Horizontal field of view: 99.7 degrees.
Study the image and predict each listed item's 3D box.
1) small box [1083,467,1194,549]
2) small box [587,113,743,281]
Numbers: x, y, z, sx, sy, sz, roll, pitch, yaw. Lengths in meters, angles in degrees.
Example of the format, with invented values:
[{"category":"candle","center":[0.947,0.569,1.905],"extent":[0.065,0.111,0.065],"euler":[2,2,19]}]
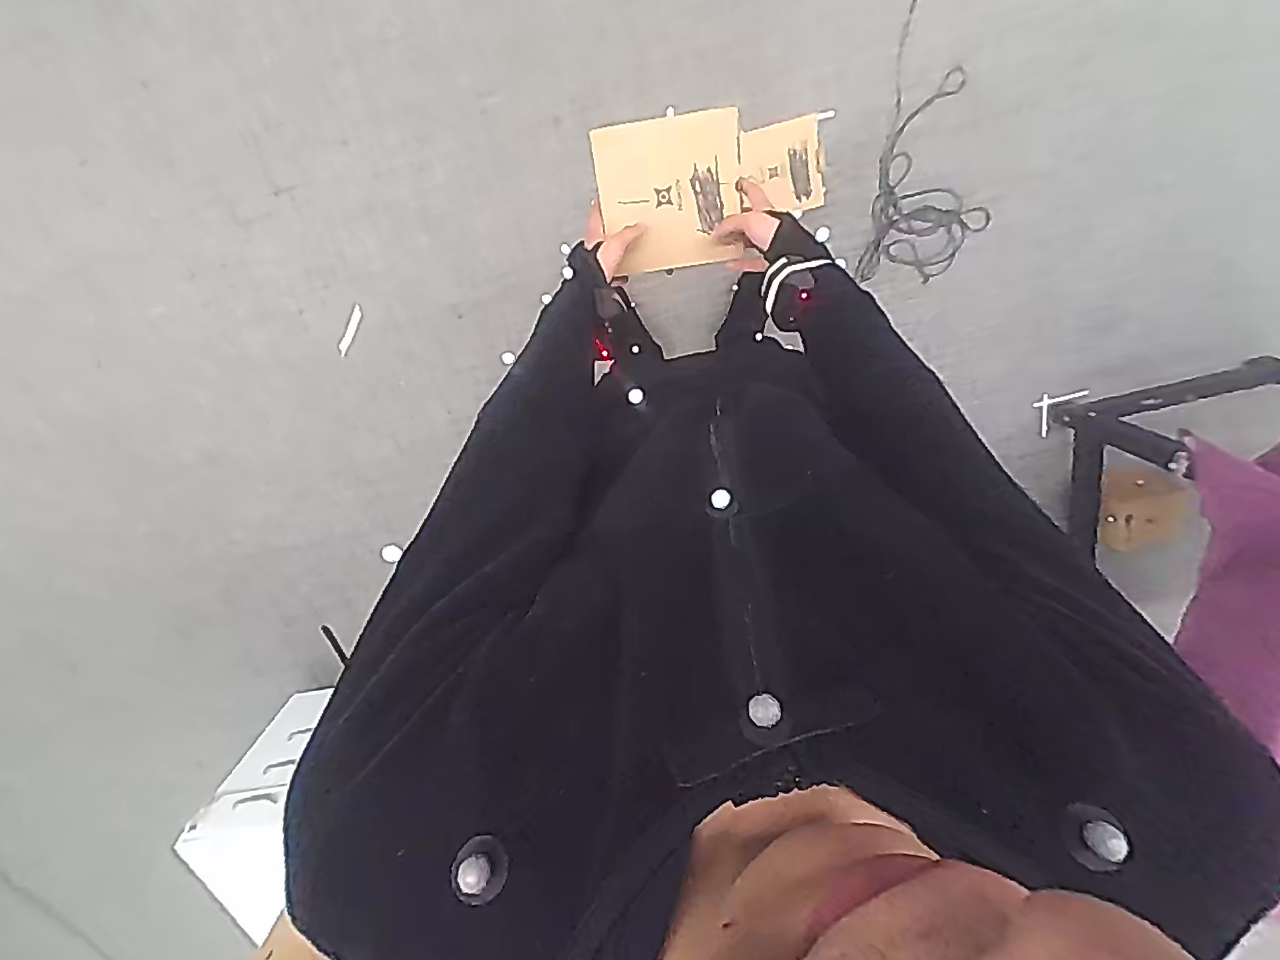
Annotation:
[{"category":"small box","center":[1.469,0.077,1.603],"extent":[0.179,0.176,0.168],"euler":[-15,111,7]},{"category":"small box","center":[0.033,-0.373,0.724],"extent":[0.179,0.176,0.168],"euler":[-7,117,4]}]
